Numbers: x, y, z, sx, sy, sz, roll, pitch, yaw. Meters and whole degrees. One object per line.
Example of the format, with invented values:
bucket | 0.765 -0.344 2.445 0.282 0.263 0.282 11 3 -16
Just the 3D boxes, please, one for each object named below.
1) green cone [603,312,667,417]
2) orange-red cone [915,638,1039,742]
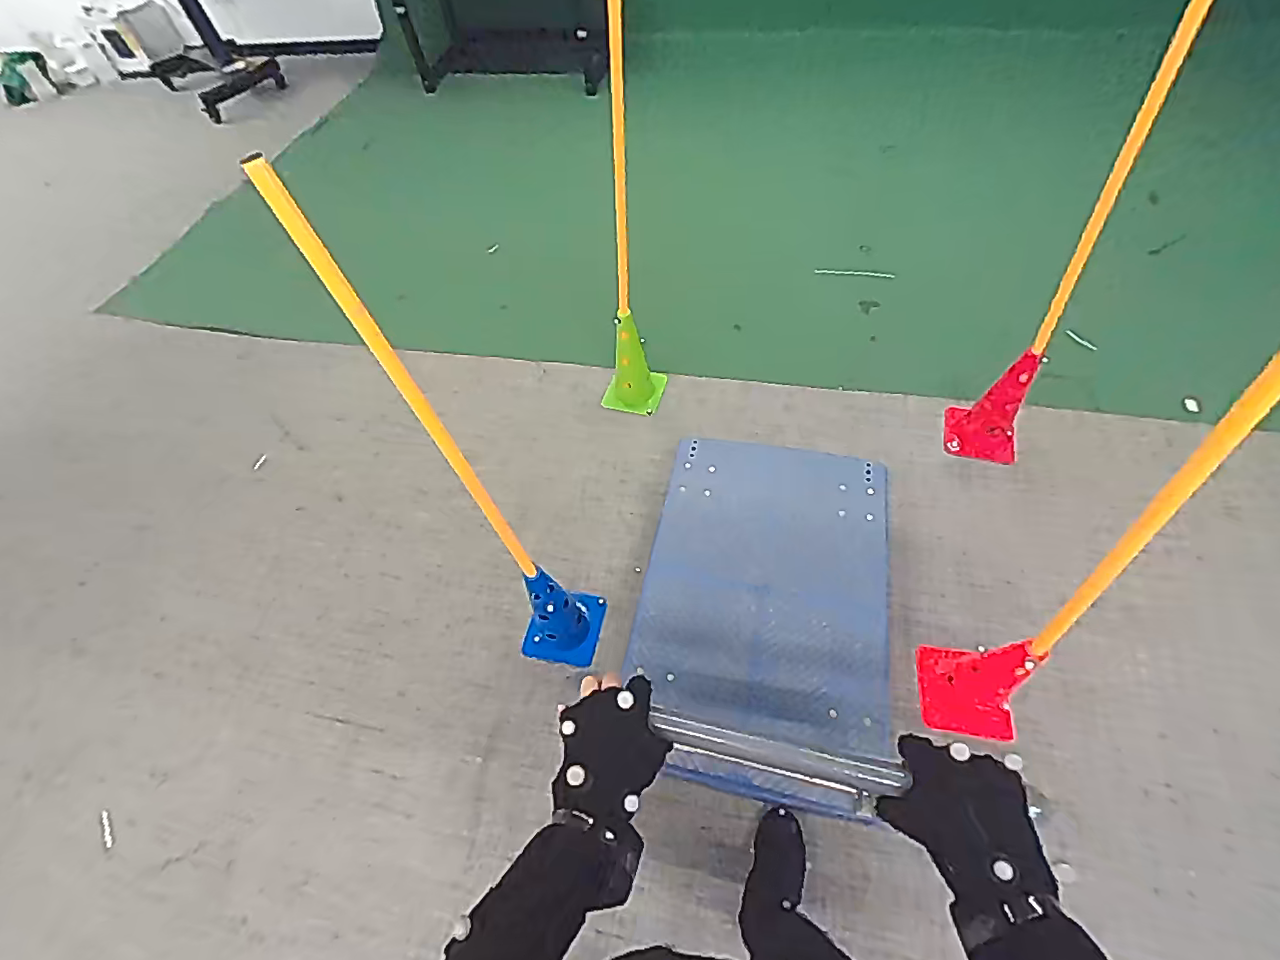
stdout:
green cone | -0.034 -0.410 1.823 0.202 0.368 0.200 11 57 14
orange-red cone | 0.761 0.422 1.177 0.199 0.360 0.198 6 56 12
